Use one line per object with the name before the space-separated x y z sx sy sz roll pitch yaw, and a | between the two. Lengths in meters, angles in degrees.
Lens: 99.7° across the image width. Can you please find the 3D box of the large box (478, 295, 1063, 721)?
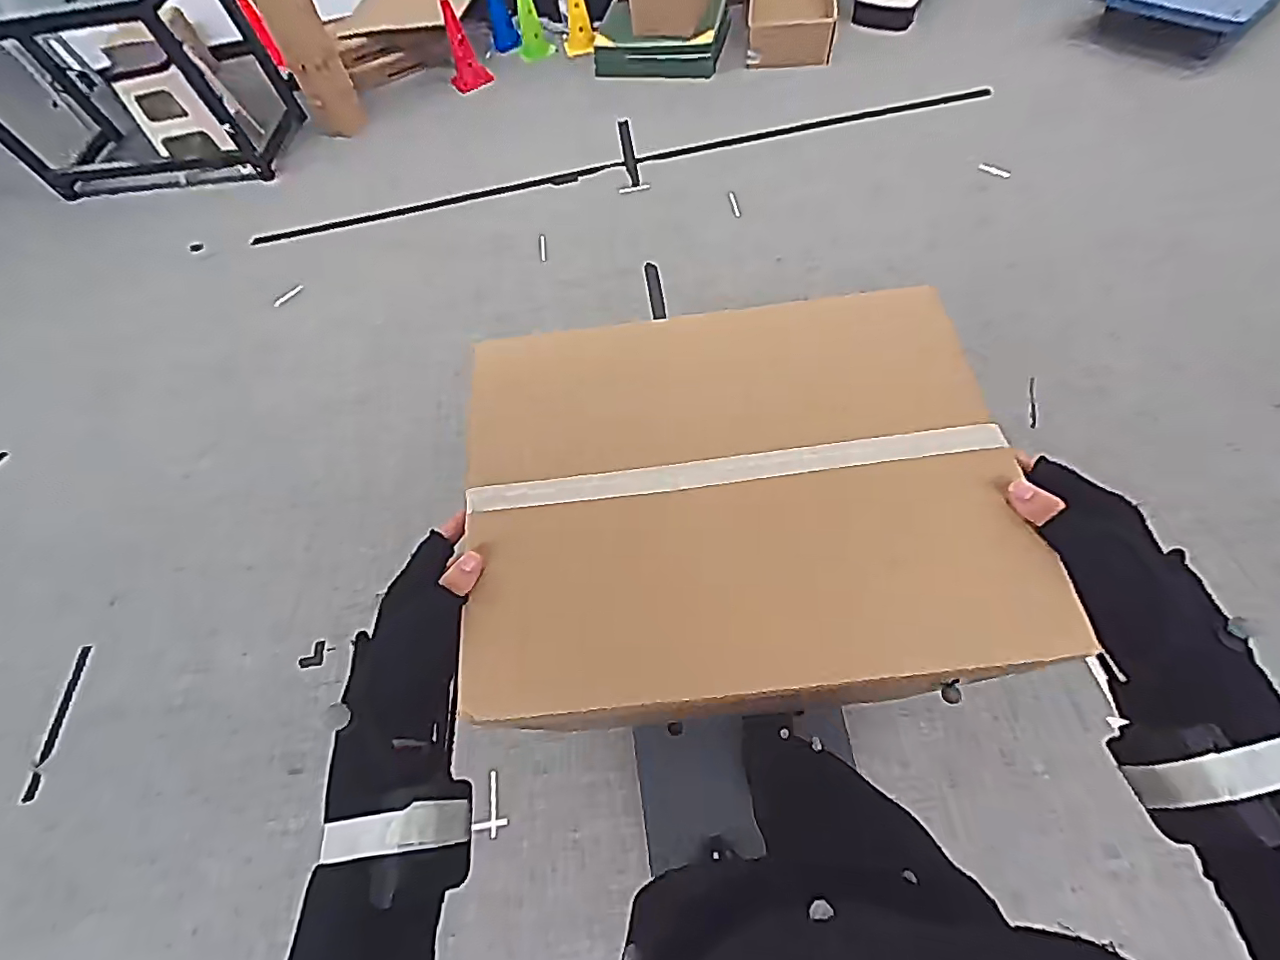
large box | 0.083 0.059 0.558 0.408 0.320 0.320 -7 63 2

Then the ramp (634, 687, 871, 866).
ramp | 0.199 0.349 1.346 0.509 0.206 0.991 -11 62 1
